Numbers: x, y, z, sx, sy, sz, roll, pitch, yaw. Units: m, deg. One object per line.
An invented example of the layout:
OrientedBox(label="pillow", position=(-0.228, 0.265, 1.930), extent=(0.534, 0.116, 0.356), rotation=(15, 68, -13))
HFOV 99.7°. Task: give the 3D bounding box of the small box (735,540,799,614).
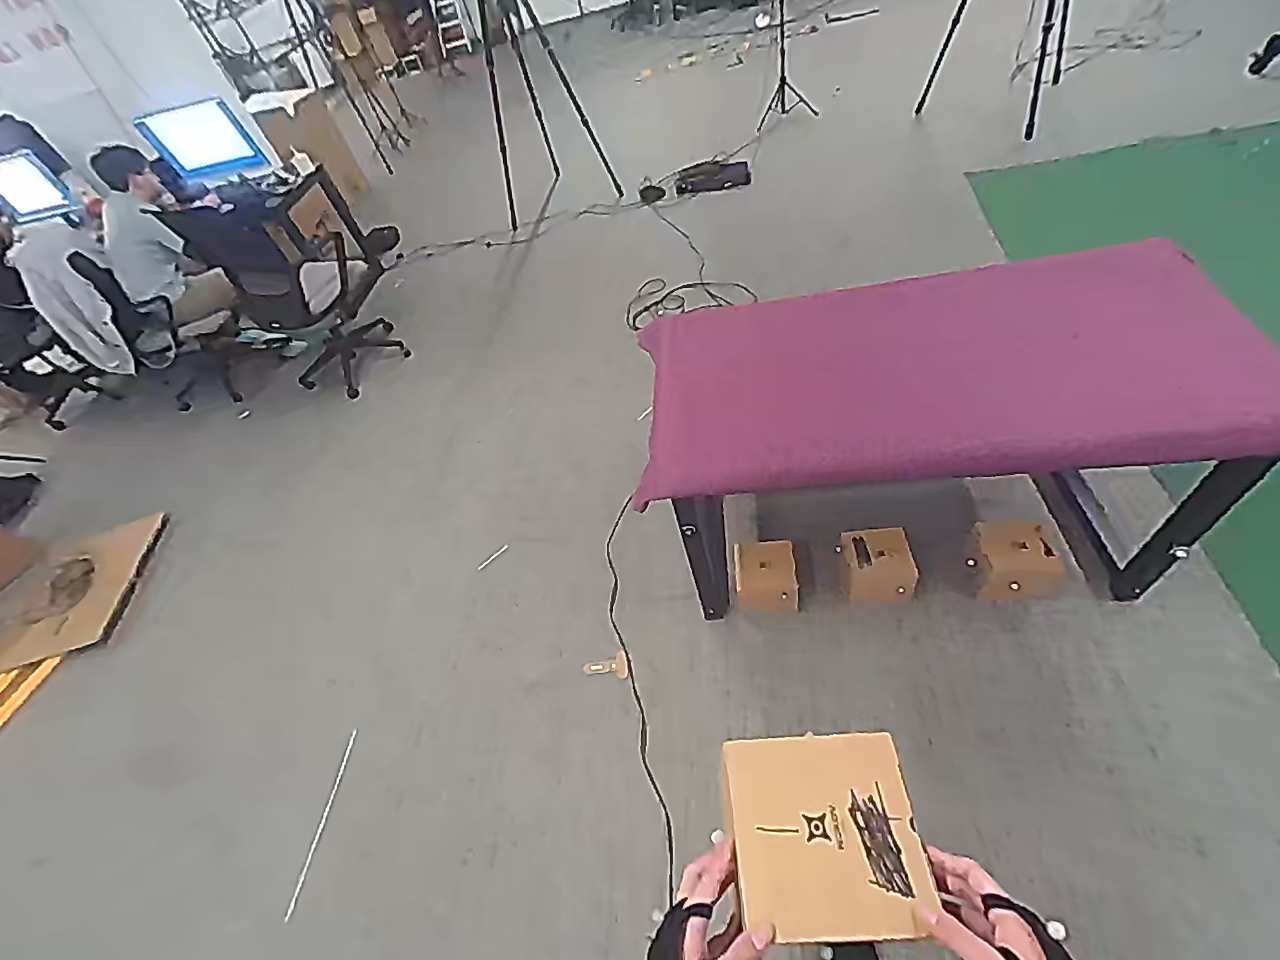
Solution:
OrientedBox(label="small box", position=(0.390, 0.302, 1.663), extent=(0.179, 0.176, 0.168), rotation=(-5, 50, 12))

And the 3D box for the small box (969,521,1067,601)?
OrientedBox(label="small box", position=(1.049, 0.231, 1.524), extent=(0.179, 0.176, 0.168), rotation=(-3, 51, 15))
